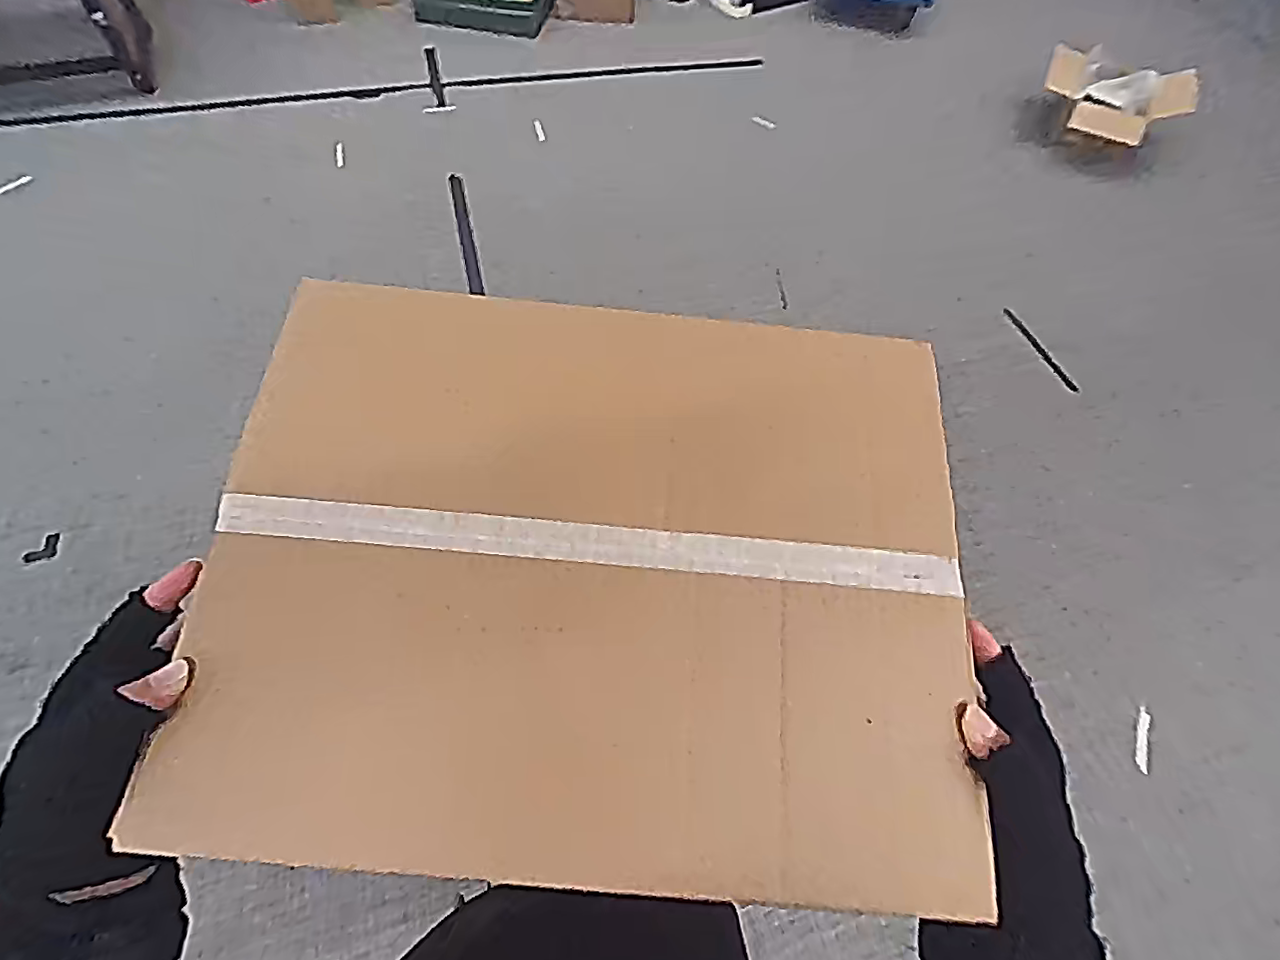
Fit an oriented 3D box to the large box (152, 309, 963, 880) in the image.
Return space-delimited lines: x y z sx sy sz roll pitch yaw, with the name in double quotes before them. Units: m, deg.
"large box" -0.037 0.092 0.451 0.408 0.320 0.320 5 71 -2
